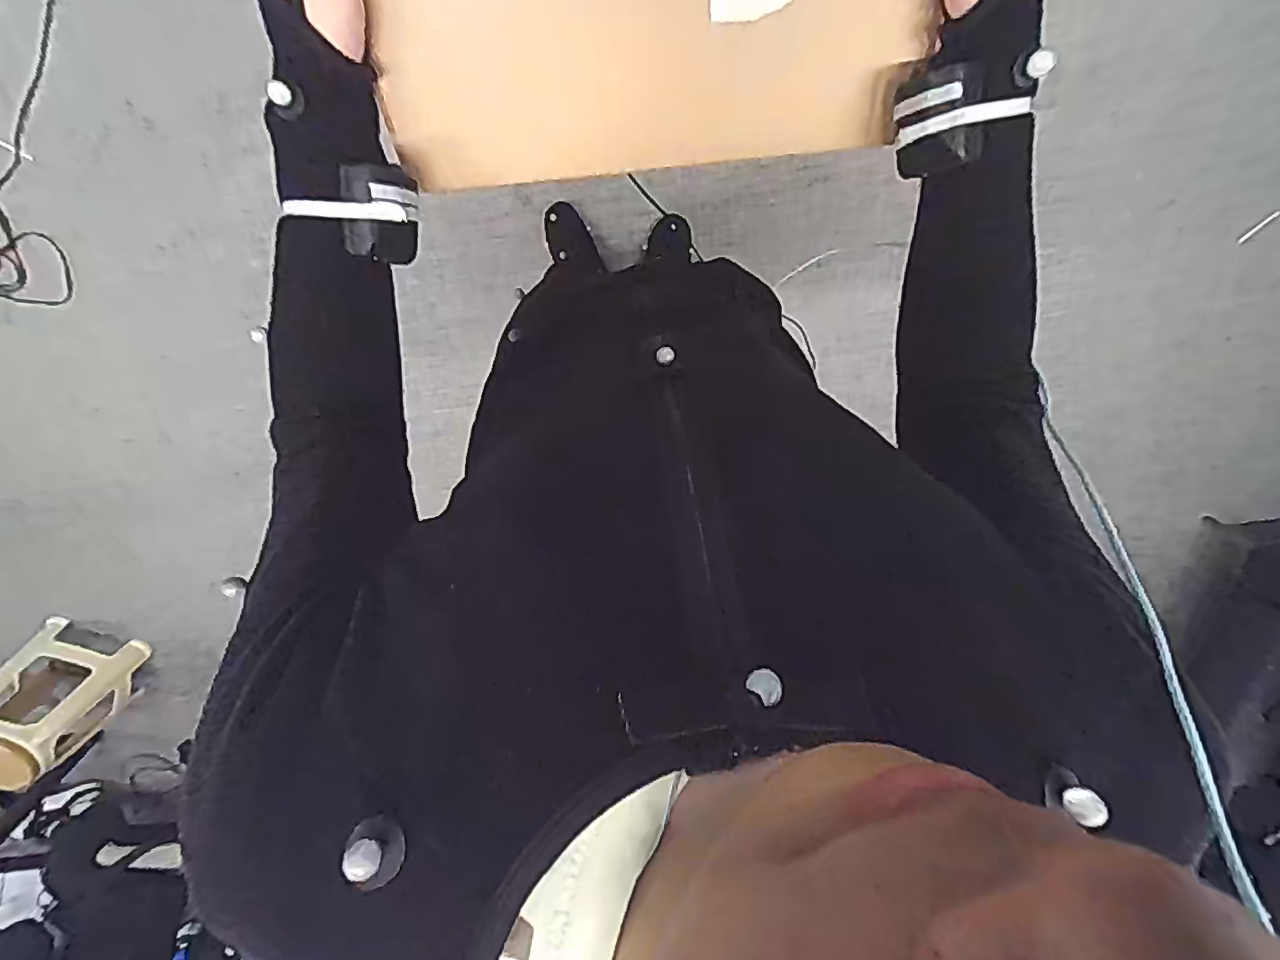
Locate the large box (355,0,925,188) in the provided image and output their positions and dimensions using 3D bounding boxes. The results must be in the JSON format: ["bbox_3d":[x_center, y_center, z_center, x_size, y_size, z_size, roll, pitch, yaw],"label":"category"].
[{"bbox_3d":[-0.011,-0.474,0.443,0.408,0.320,0.320,-6,135,1],"label":"large box"}]
